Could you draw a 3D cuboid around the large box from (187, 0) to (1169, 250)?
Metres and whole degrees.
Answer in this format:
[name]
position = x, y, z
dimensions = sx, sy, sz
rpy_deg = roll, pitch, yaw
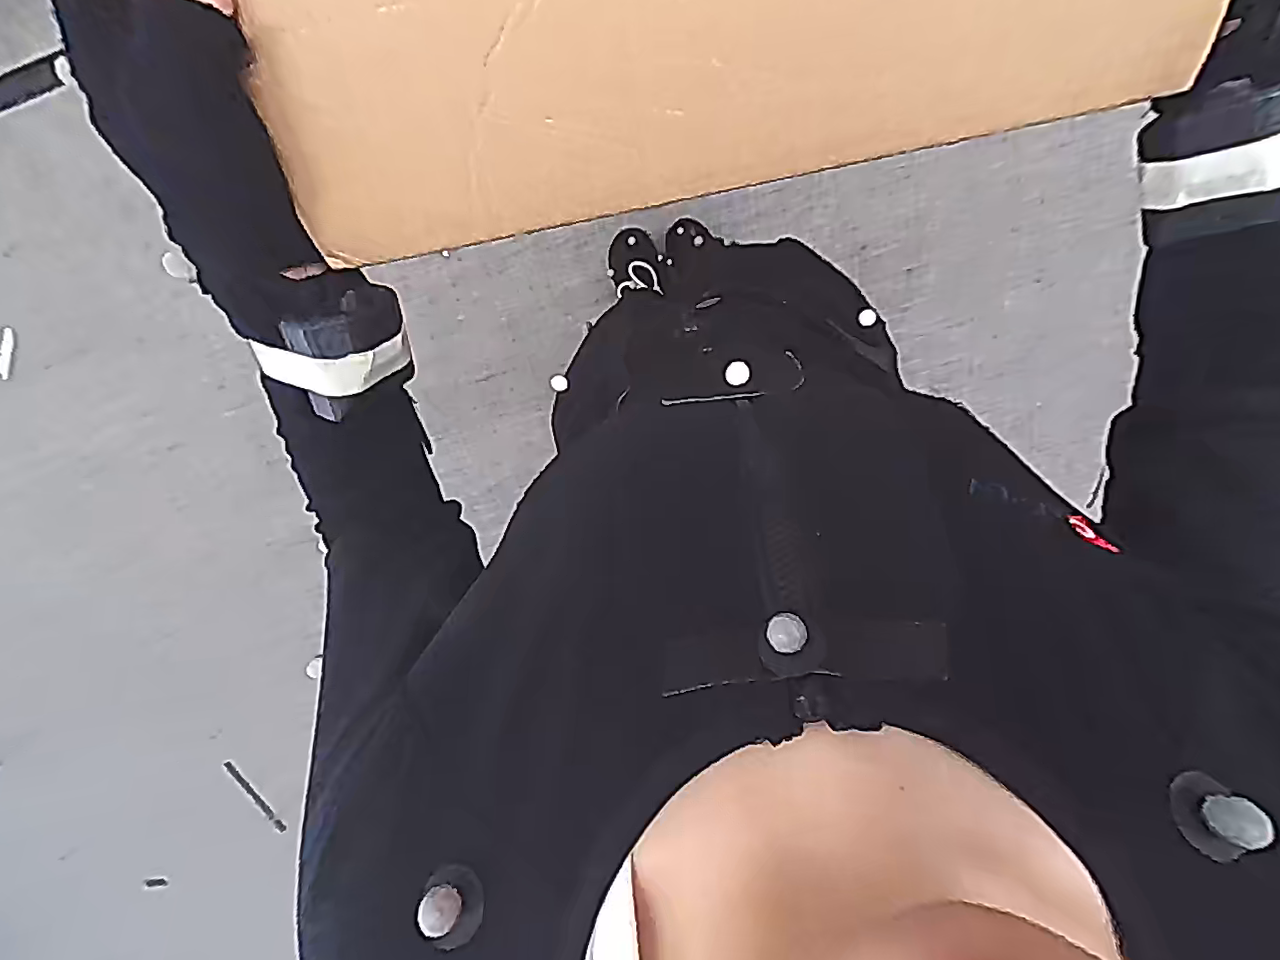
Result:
[large box]
position = 0.001, -0.363, 0.267
dimensions = 0.408, 0.320, 0.320
rpy_deg = -10, 132, 4
